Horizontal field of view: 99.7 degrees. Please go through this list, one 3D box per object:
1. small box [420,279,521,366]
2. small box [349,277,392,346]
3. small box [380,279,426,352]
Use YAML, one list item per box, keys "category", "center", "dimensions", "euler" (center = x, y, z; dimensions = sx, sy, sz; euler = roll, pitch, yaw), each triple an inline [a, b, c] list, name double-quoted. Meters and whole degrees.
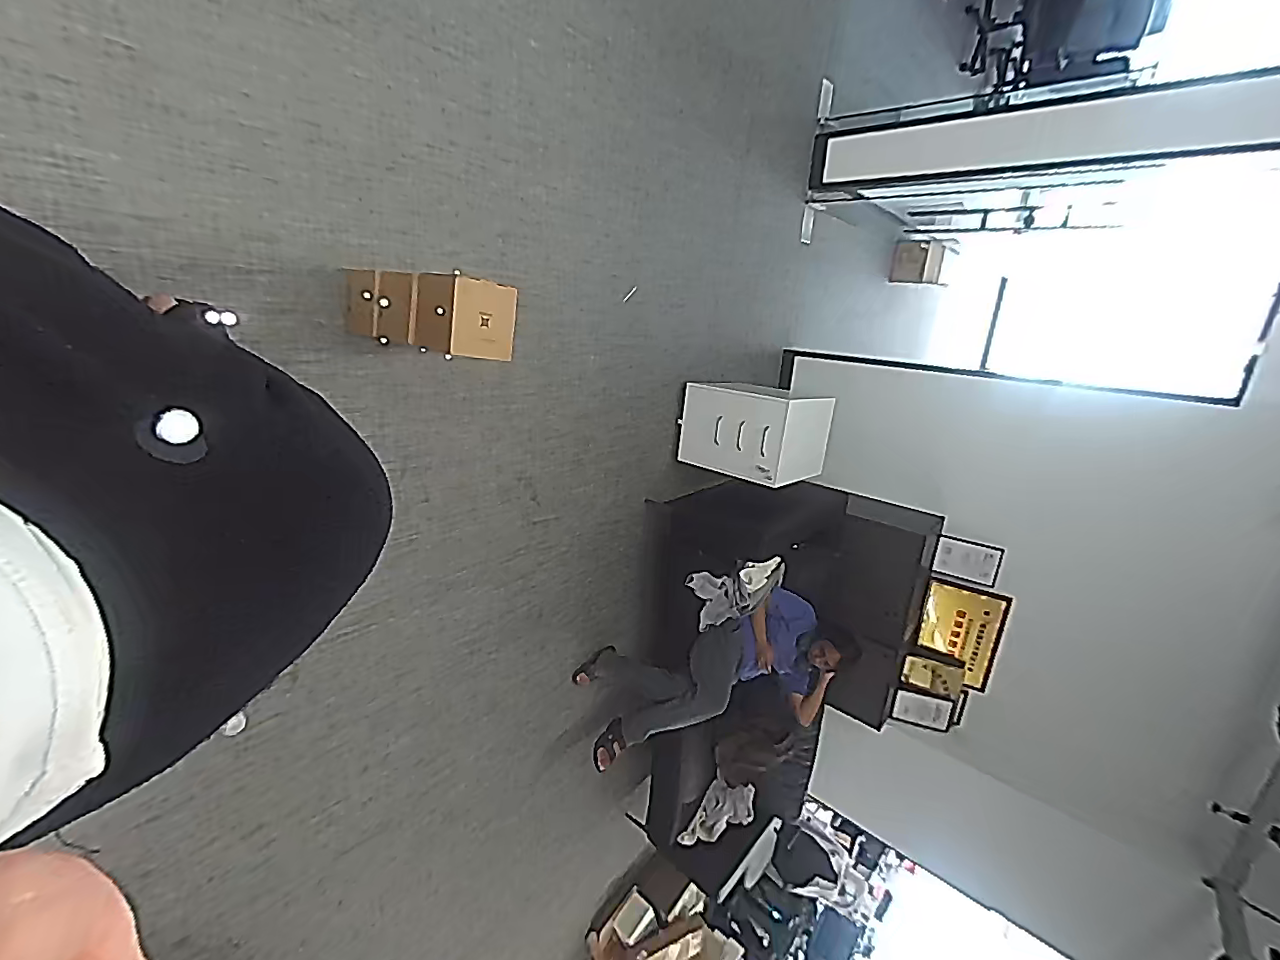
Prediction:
- category: "small box"
  center: [-0.409, -0.376, 1.294]
  dimensions: [0.168, 0.176, 0.179]
  euler: [-7, 111, -49]
- category: "small box"
  center: [-0.667, -0.454, 1.478]
  dimensions: [0.179, 0.176, 0.168]
  euler: [-7, 110, -50]
- category: "small box"
  center: [-0.537, -0.413, 1.385]
  dimensions: [0.179, 0.176, 0.168]
  euler: [-4, 107, -50]
